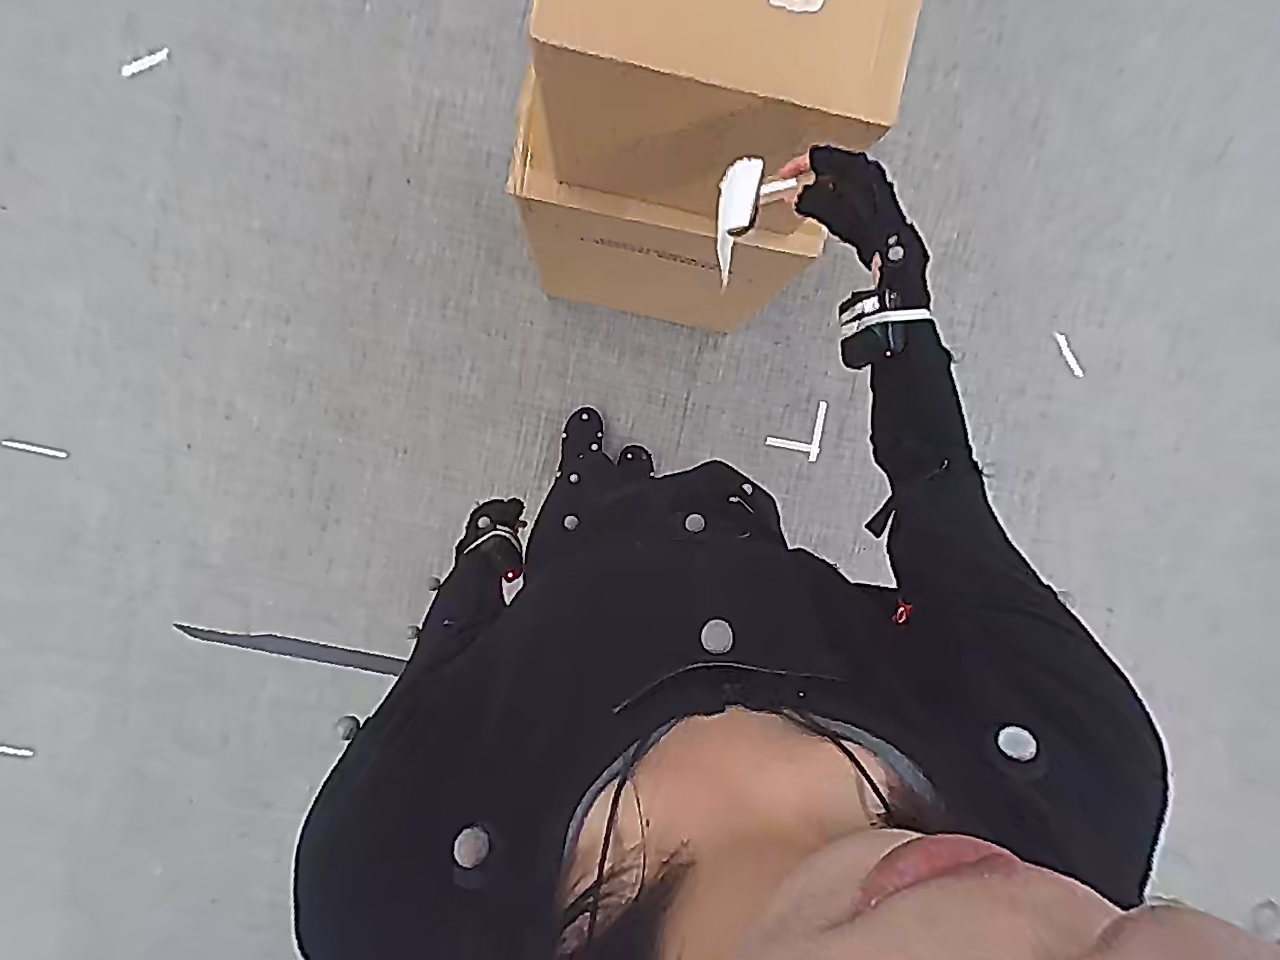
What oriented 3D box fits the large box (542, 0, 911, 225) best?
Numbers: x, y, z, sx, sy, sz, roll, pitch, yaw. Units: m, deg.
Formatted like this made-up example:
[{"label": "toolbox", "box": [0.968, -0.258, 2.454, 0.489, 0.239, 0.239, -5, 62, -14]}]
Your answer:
[{"label": "large box", "box": [0.098, -0.593, 0.733, 0.408, 0.320, 0.320, 10, 93, -6]}]
